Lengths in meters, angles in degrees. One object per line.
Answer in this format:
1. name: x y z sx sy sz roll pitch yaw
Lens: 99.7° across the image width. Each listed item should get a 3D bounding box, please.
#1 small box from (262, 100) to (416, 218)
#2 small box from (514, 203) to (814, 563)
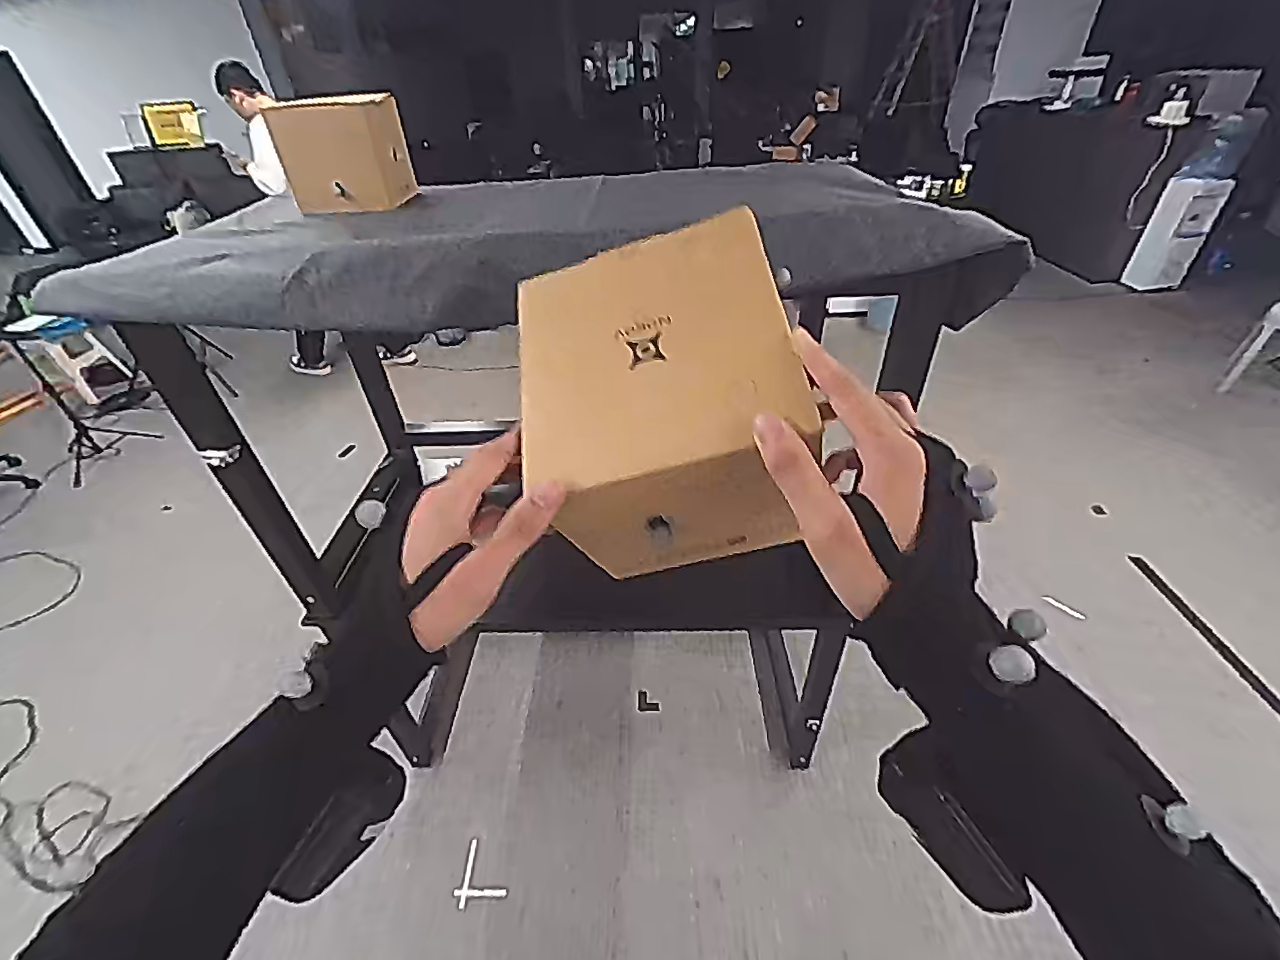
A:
1. small box: -0.542 -0.598 1.008 0.179 0.176 0.168 -2 38 0
2. small box: 0.023 -0.049 0.390 0.168 0.176 0.179 -14 61 11
